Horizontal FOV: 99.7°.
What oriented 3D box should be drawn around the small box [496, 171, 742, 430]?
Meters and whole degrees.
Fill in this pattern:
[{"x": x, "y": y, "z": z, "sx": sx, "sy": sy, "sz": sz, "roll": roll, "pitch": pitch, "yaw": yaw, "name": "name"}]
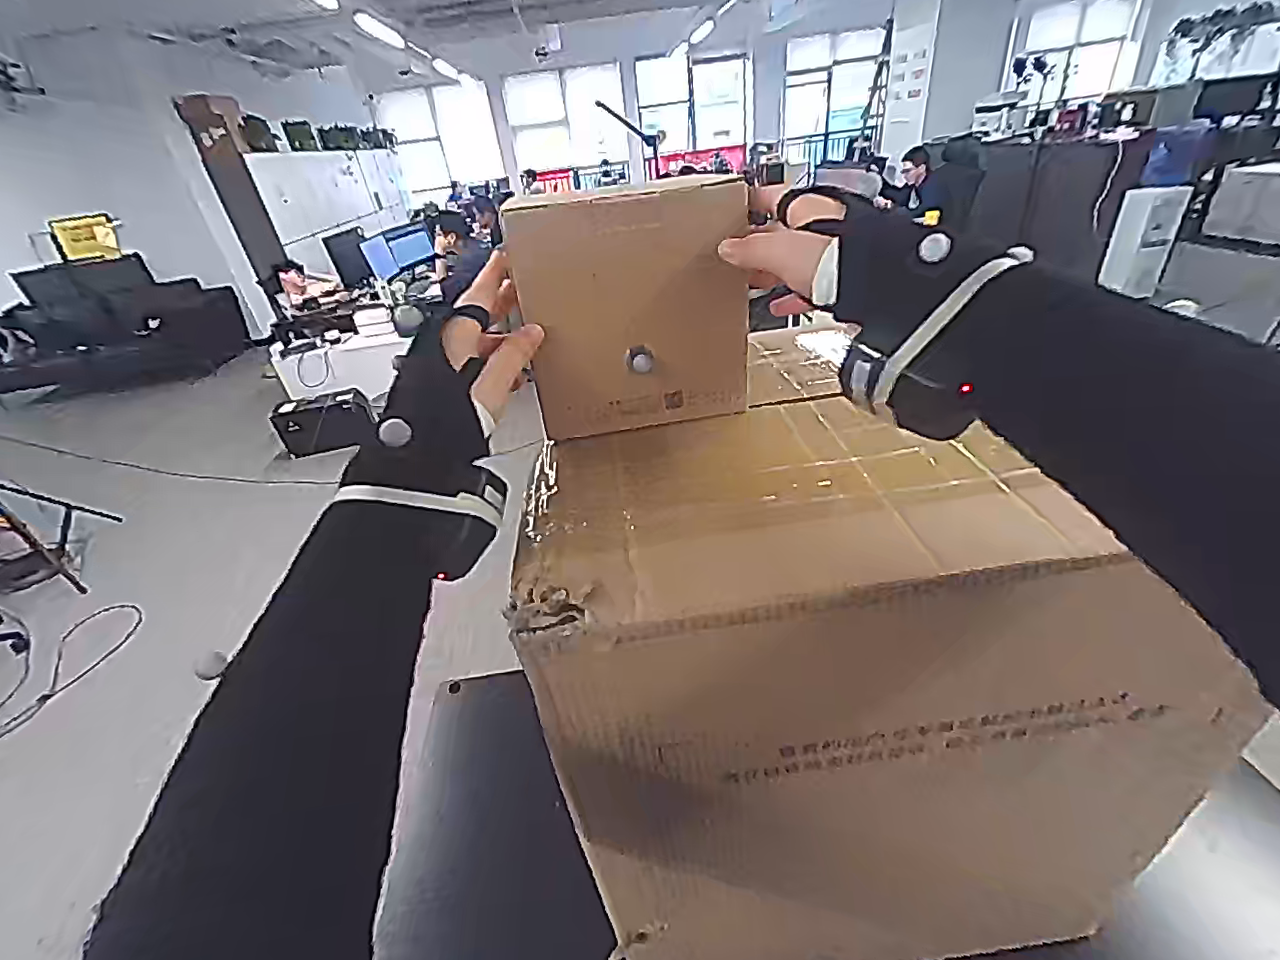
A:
[{"x": -0.015, "y": -0.159, "z": 0.465, "sx": 0.168, "sy": 0.176, "sz": 0.179, "roll": -10, "pitch": 30, "yaw": -3, "name": "small box"}]
